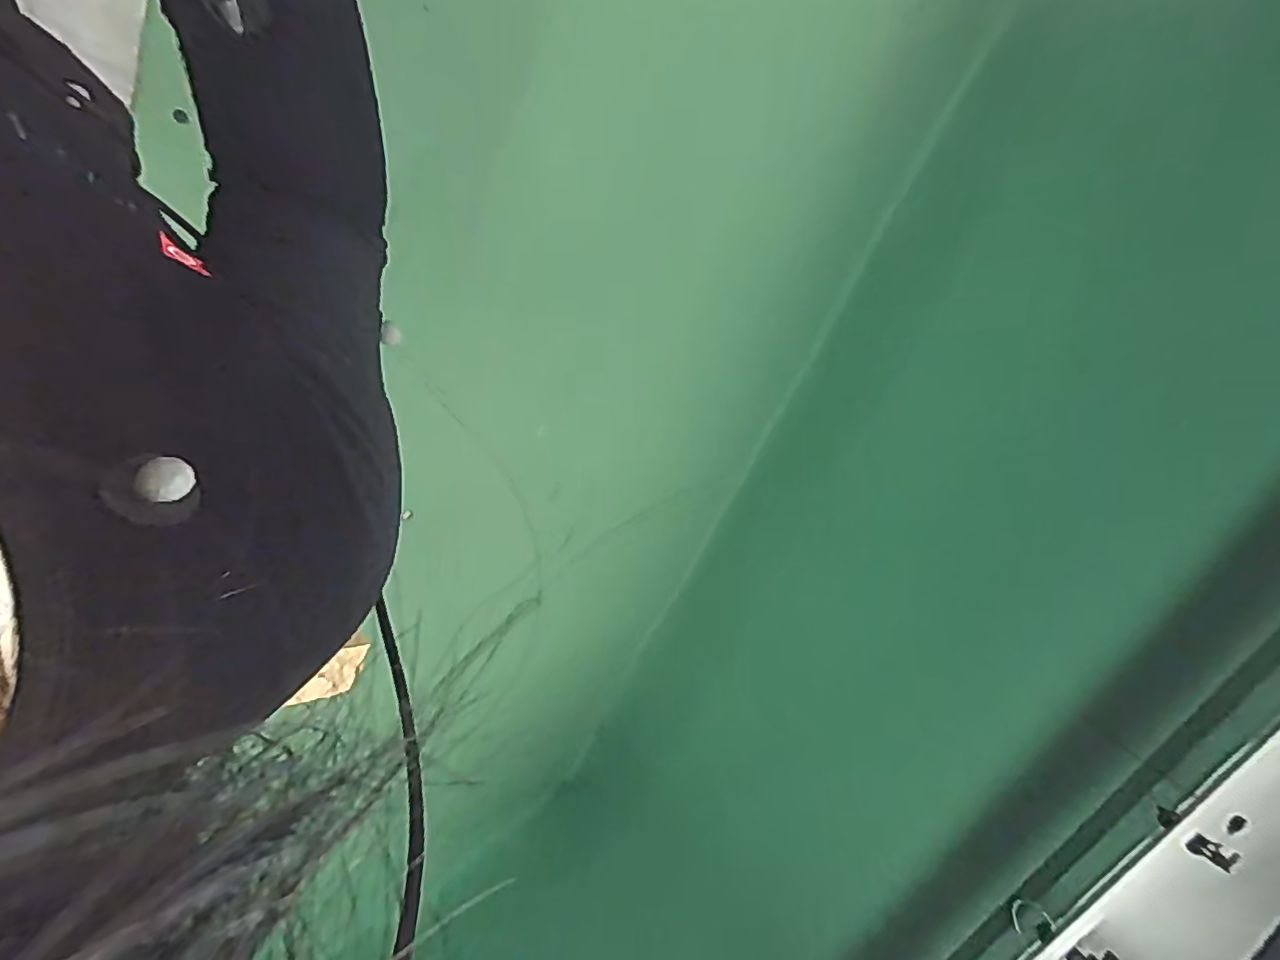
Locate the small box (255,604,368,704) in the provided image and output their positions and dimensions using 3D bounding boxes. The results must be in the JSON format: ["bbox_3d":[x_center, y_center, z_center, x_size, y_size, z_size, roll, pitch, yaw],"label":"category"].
[{"bbox_3d":[-0.844,0.435,1.388,0.179,0.176,0.168,9,115,-56],"label":"small box"}]
